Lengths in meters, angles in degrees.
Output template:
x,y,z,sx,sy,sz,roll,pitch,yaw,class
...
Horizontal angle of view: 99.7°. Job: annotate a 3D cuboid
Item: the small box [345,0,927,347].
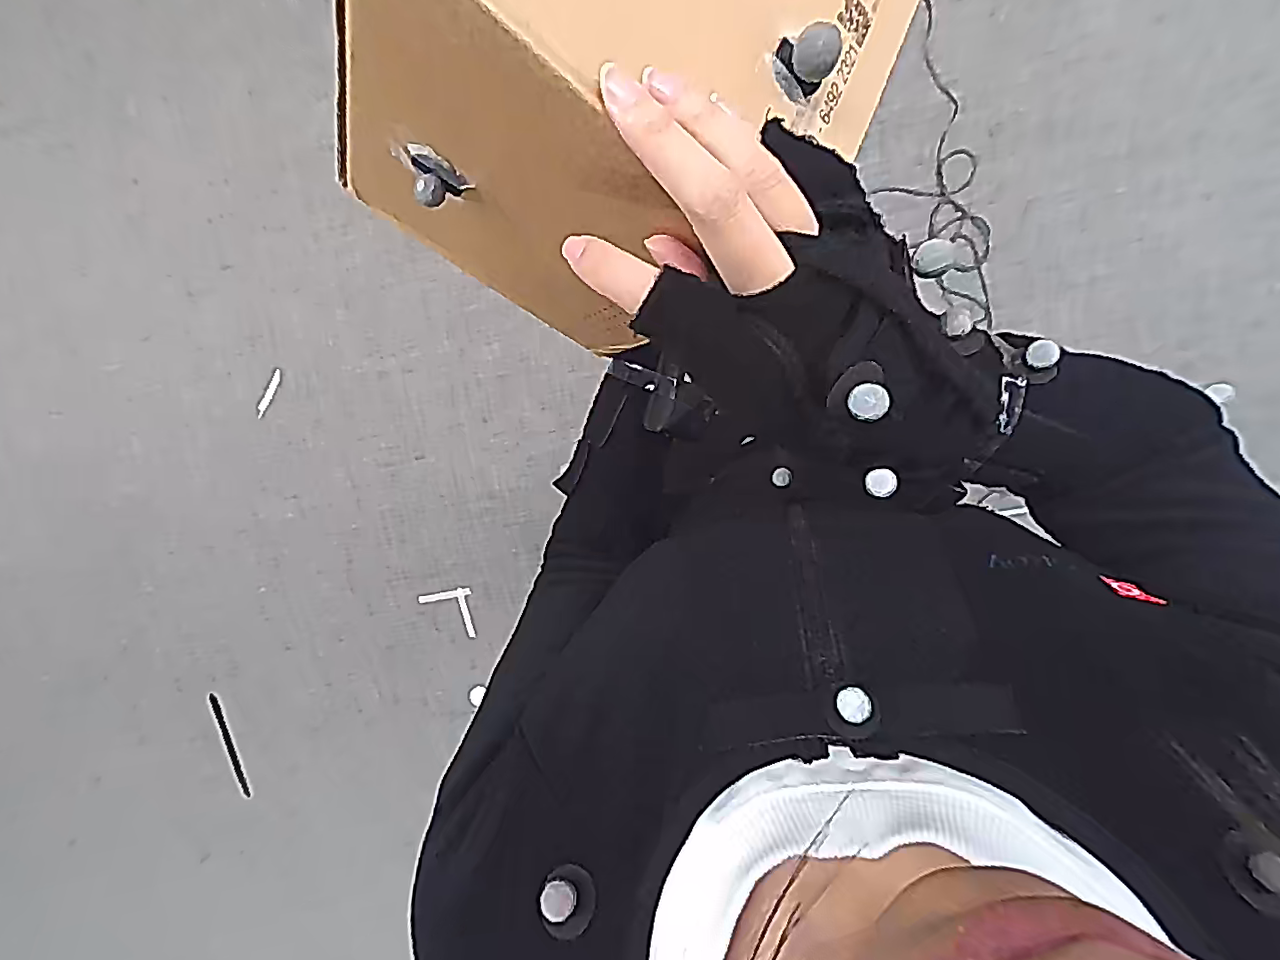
x,y,z,sx,sy,sz,roll,pitch,yaw,class
-0.011,-0.180,0.253,0.176,0.179,0.168,27,81,-28,small box
